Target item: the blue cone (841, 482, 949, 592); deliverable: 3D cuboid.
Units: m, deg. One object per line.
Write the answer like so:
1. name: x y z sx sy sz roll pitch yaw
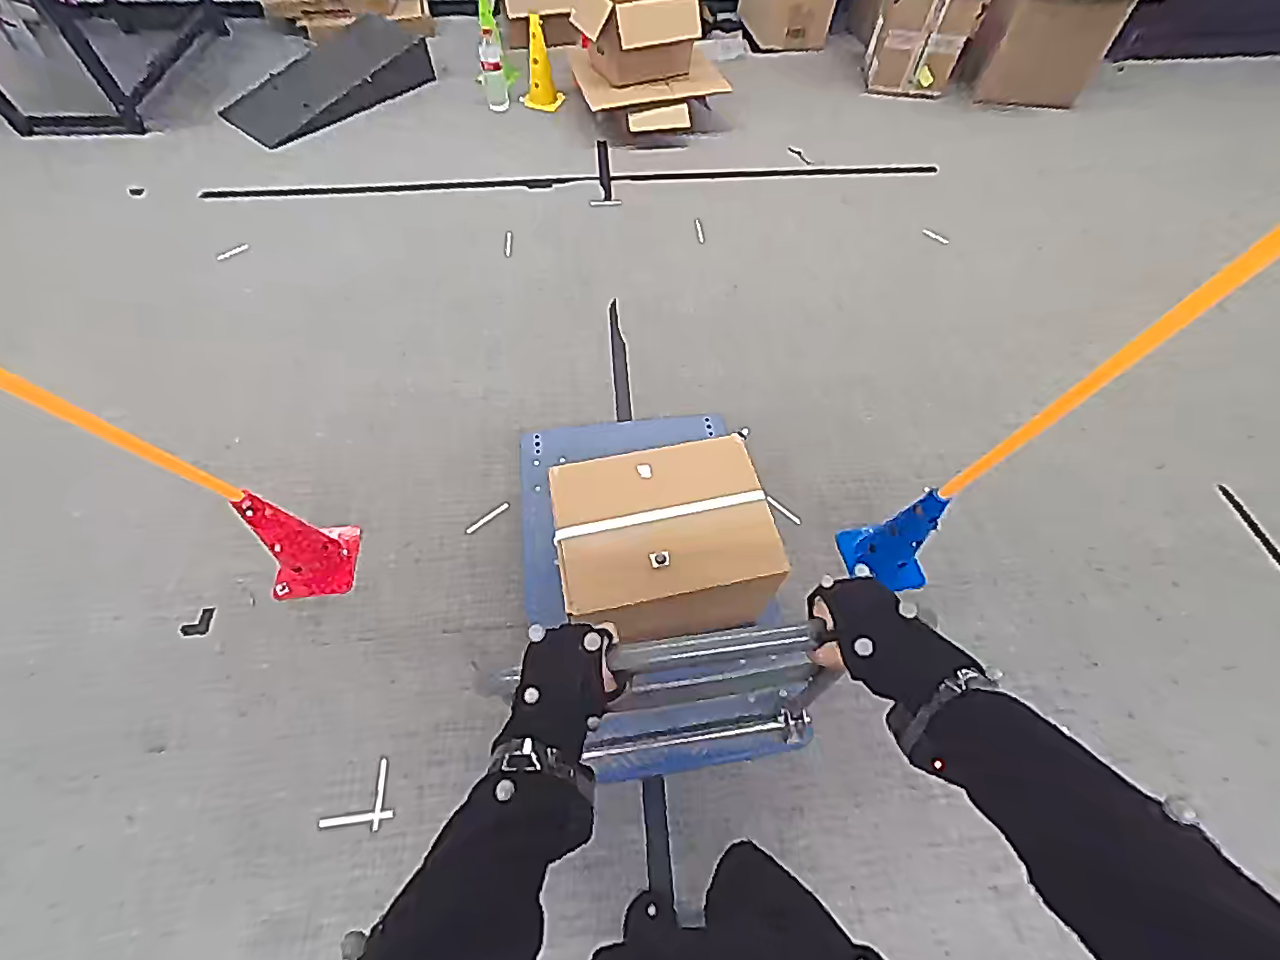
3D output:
1. blue cone: 0.679 0.128 1.372 0.193 0.380 0.192 -7 58 -6
